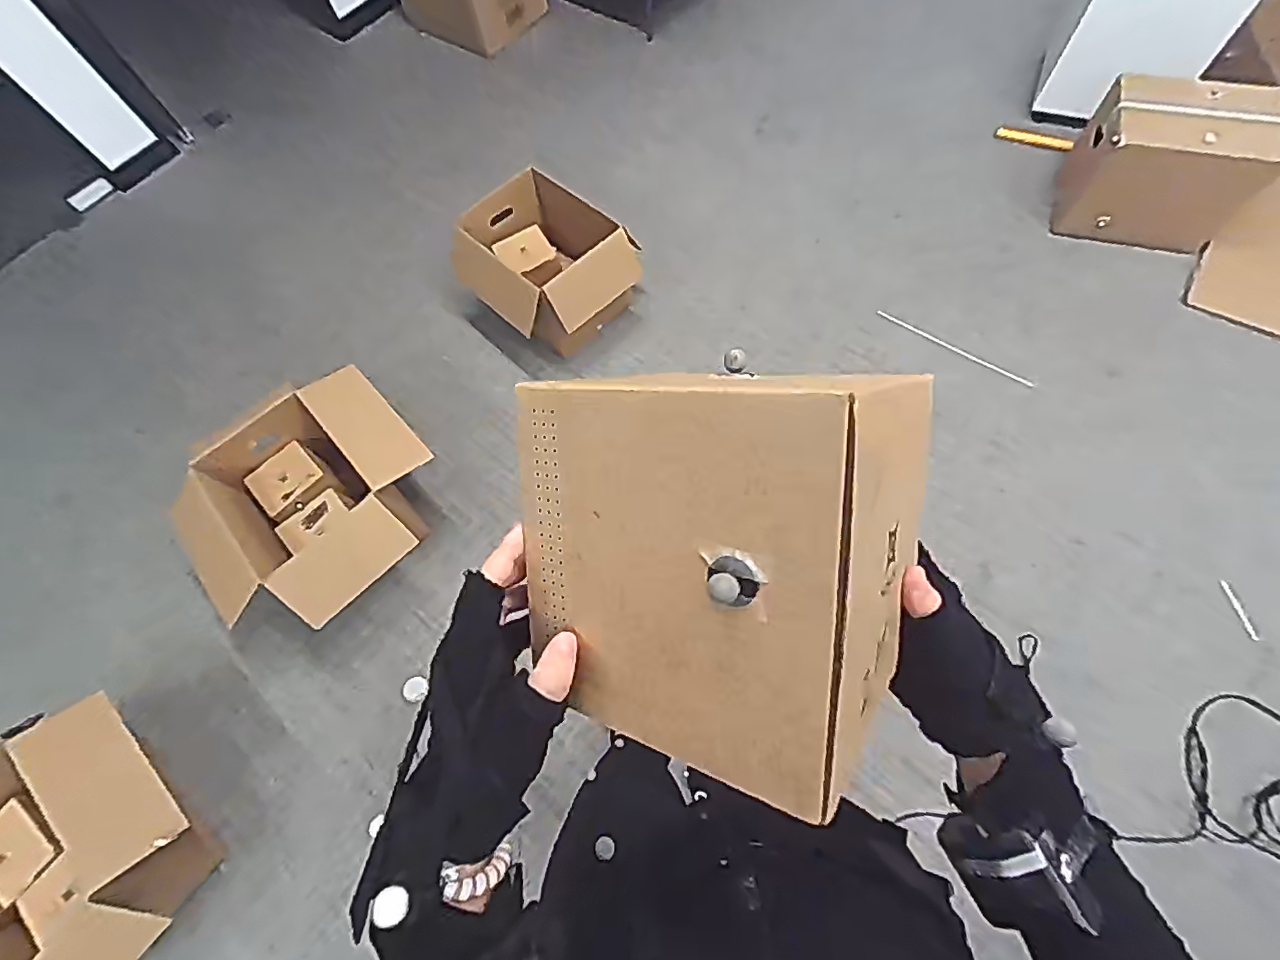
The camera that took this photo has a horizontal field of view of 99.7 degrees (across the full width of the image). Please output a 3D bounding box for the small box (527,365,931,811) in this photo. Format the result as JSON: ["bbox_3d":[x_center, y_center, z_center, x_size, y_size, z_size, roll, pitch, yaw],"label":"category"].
[{"bbox_3d":[0.052,0.028,0.305,0.176,0.168,0.179,8,105,36],"label":"small box"}]
